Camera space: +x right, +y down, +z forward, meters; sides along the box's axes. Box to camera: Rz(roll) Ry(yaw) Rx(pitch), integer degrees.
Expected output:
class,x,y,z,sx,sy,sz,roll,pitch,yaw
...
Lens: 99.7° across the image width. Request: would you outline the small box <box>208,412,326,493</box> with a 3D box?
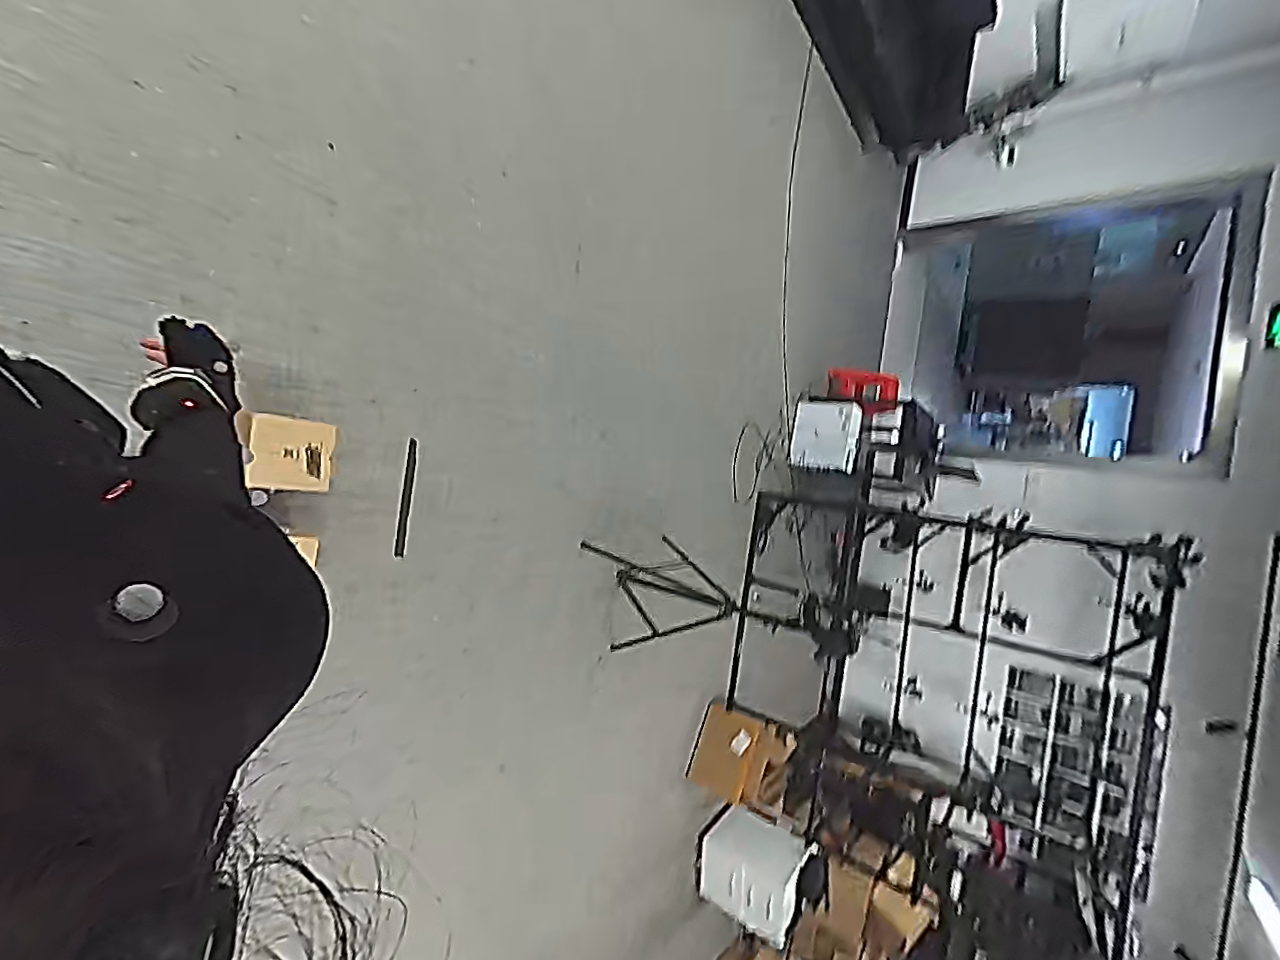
class,x,y,z,sx,sy,sz,roll,pitch,yaw
small box,-0.884,-0.066,1.282,0.179,0.176,0.168,9,89,-52
